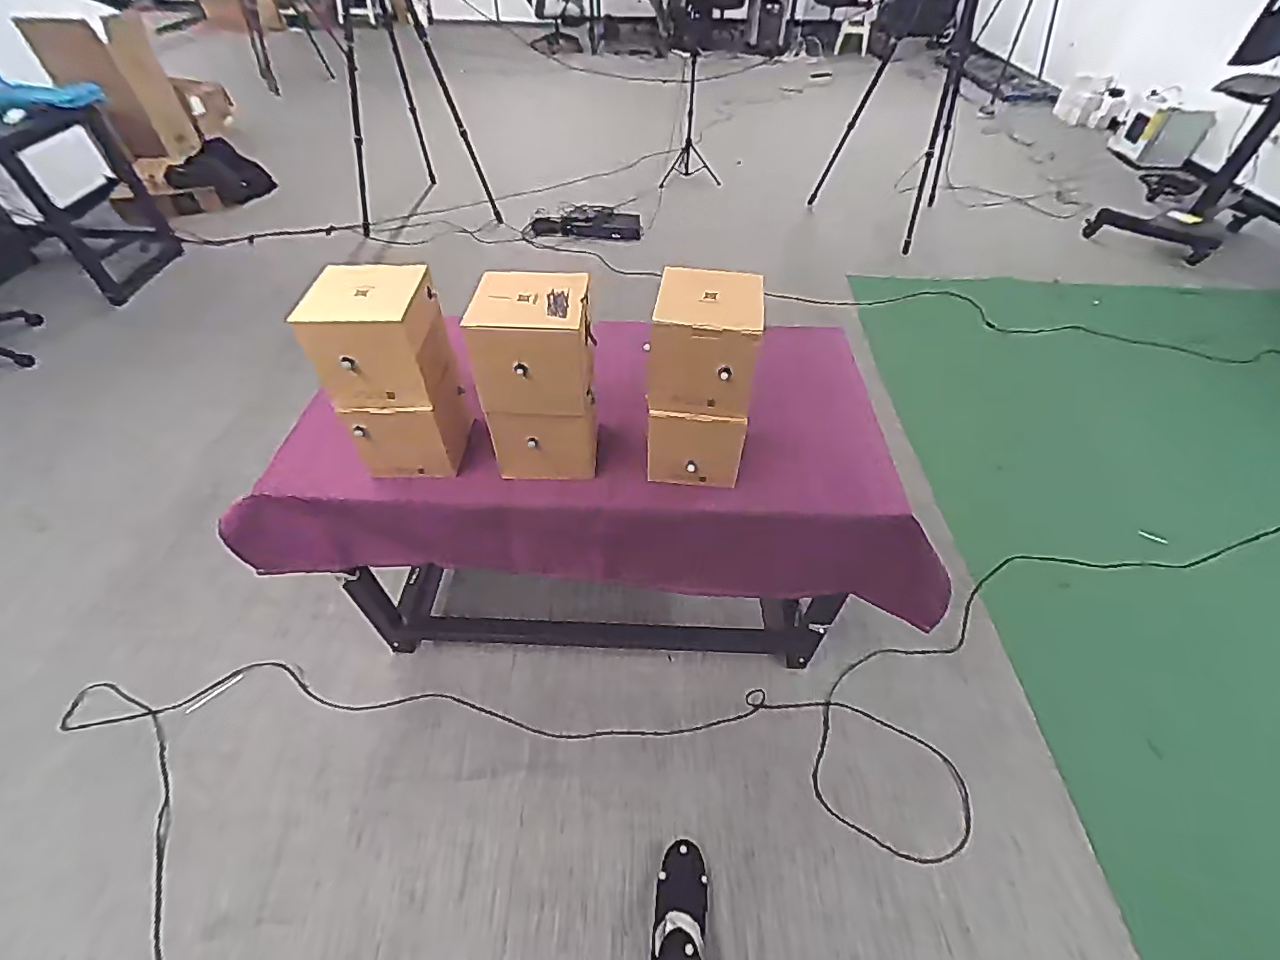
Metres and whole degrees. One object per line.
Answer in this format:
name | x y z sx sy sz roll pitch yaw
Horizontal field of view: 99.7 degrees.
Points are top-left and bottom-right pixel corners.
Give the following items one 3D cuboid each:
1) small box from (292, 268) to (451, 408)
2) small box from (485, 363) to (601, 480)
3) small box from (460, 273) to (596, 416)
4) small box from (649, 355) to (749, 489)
small box | -0.428 -0.233 0.901 0.168 0.176 0.179 -1 47 -1
small box | -0.170 -0.113 1.013 0.179 0.176 0.168 1 48 1
small box | -0.169 -0.219 0.886 0.179 0.176 0.168 2 47 2
small box | 0.108 -0.108 1.006 0.168 0.176 0.179 5 48 5
